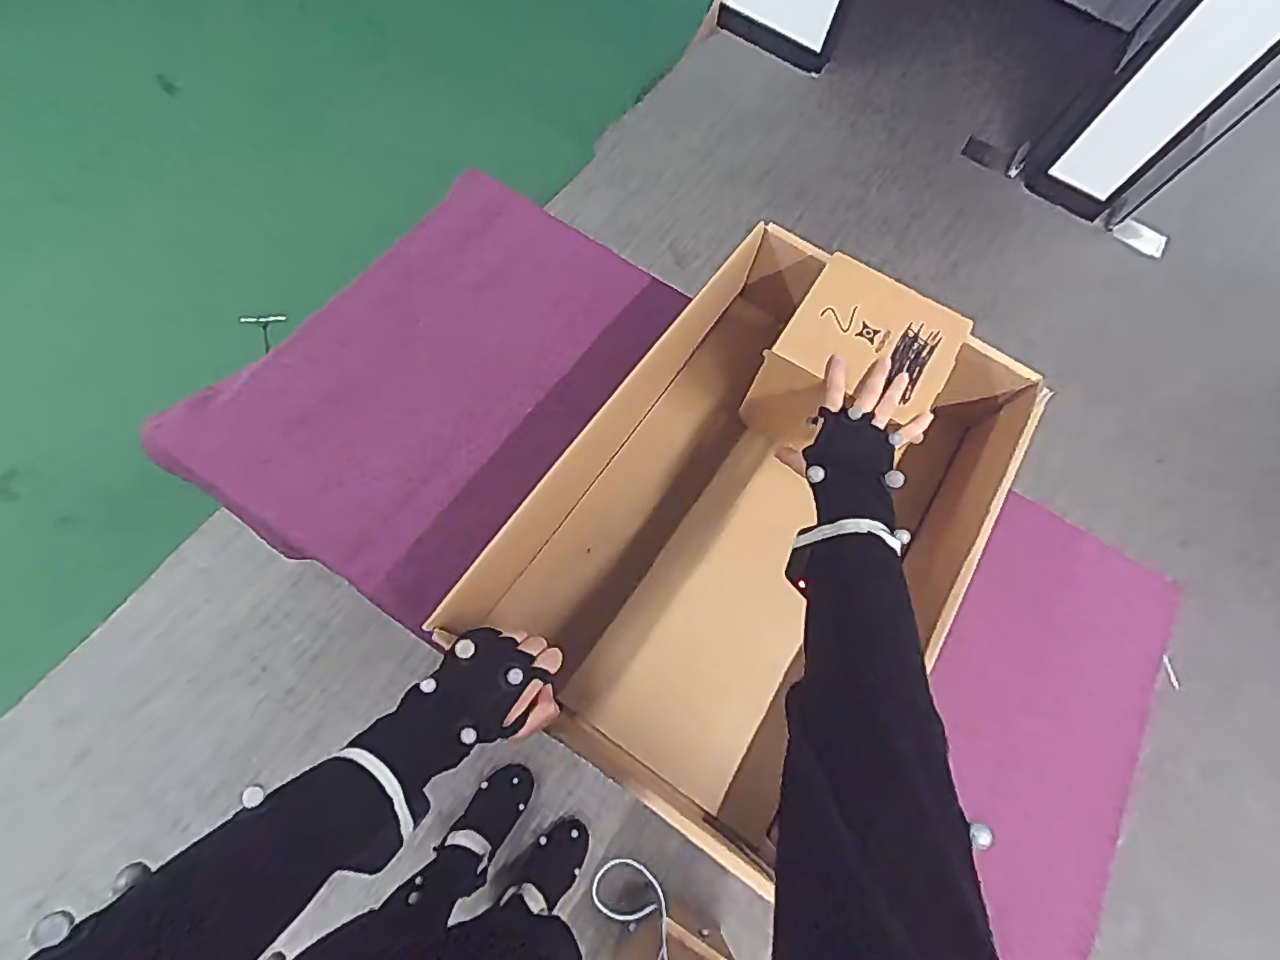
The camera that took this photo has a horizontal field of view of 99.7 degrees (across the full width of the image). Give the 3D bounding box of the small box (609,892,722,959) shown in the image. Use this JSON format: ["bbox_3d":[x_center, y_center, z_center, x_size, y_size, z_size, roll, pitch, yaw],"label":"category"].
[{"bbox_3d":[0.052,0.969,1.071,0.179,0.176,0.168,32,69,7],"label":"small box"}]
